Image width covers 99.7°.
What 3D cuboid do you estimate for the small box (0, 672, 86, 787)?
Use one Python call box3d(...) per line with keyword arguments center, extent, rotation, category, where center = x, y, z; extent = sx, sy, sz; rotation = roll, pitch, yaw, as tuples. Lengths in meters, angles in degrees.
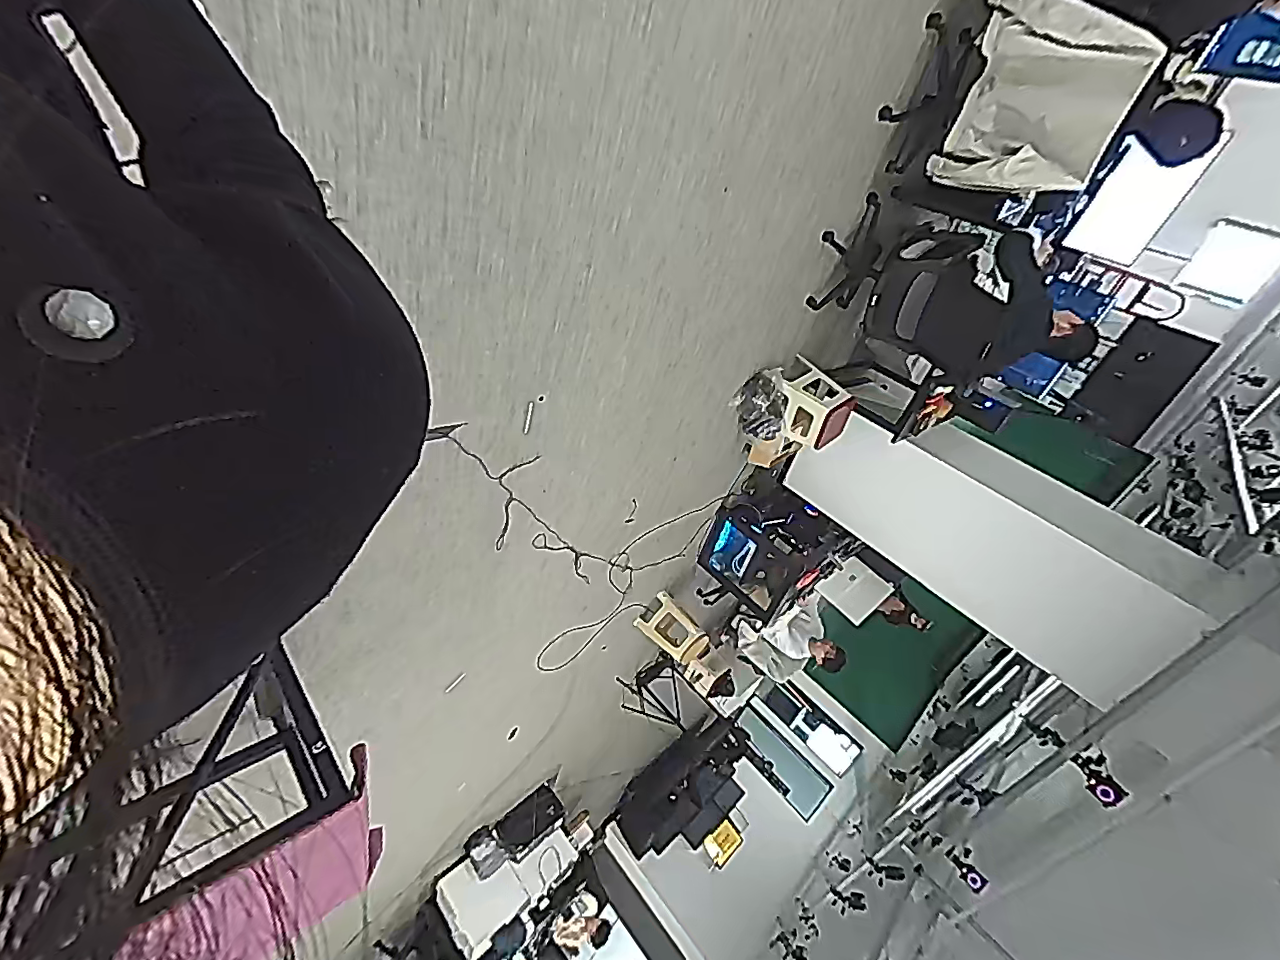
box3d(center=(-1.581, 0.638, 1.398), extent=(0.168, 0.176, 0.179), rotation=(-19, 137, -42), category="small box")
